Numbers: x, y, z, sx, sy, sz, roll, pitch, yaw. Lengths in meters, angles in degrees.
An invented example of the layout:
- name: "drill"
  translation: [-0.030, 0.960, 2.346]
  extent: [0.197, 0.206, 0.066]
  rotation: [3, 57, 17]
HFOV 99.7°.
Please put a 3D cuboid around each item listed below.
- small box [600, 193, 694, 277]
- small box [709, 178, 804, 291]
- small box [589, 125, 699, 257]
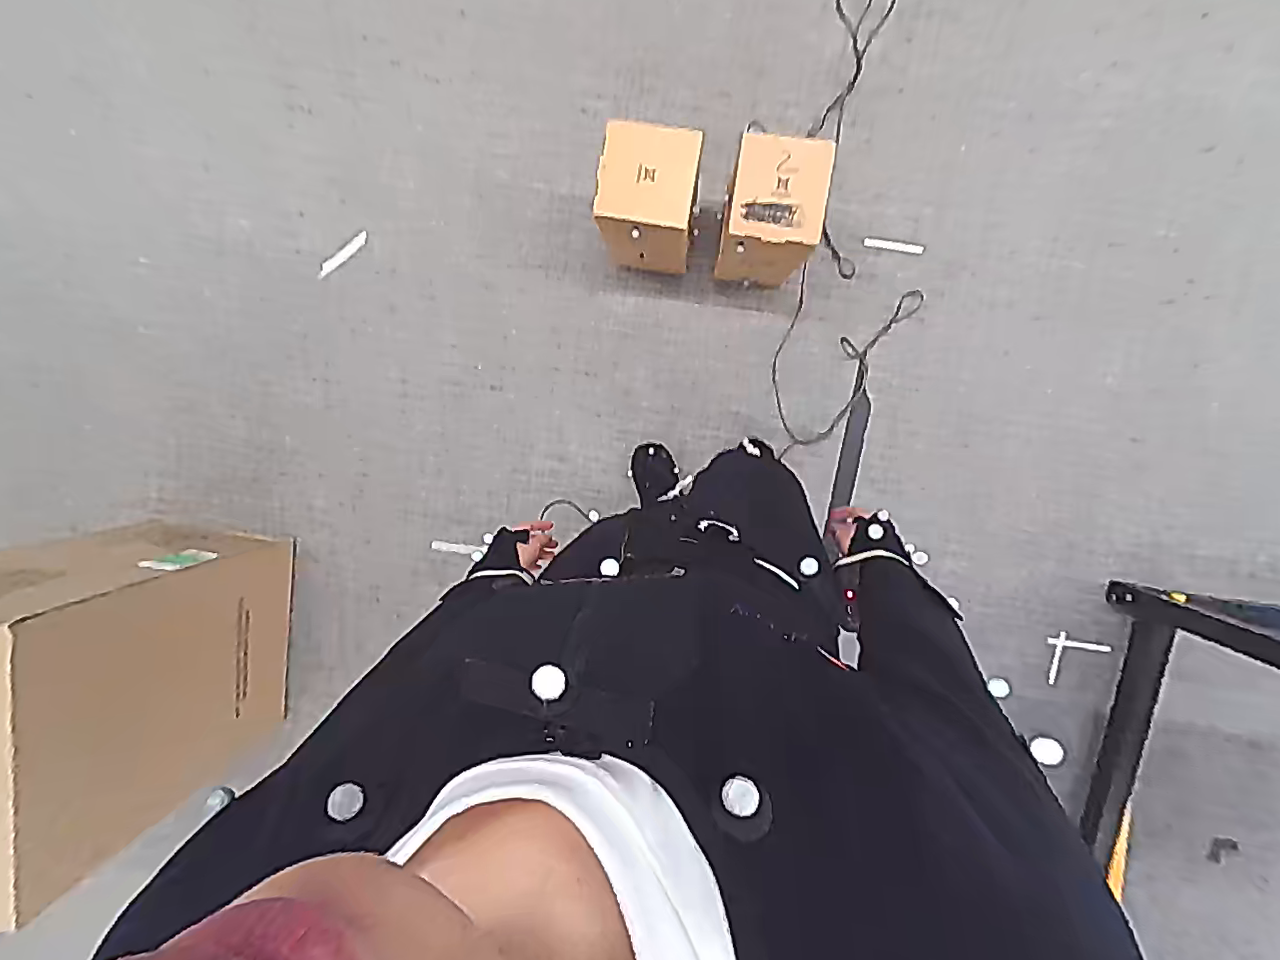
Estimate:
- name: "small box"
  translation: [0.020, -0.566, 1.209]
  extent: [0.179, 0.176, 0.168]
  rotation: [10, 97, 3]
- name: "small box"
  translation: [0.250, -0.536, 1.200]
  extent: [0.168, 0.176, 0.179]
  rotation: [8, 97, 2]
- name: "small box"
  translation: [0.011, -0.548, 1.048]
  extent: [0.179, 0.176, 0.168]
  rotation: [10, 97, 3]
